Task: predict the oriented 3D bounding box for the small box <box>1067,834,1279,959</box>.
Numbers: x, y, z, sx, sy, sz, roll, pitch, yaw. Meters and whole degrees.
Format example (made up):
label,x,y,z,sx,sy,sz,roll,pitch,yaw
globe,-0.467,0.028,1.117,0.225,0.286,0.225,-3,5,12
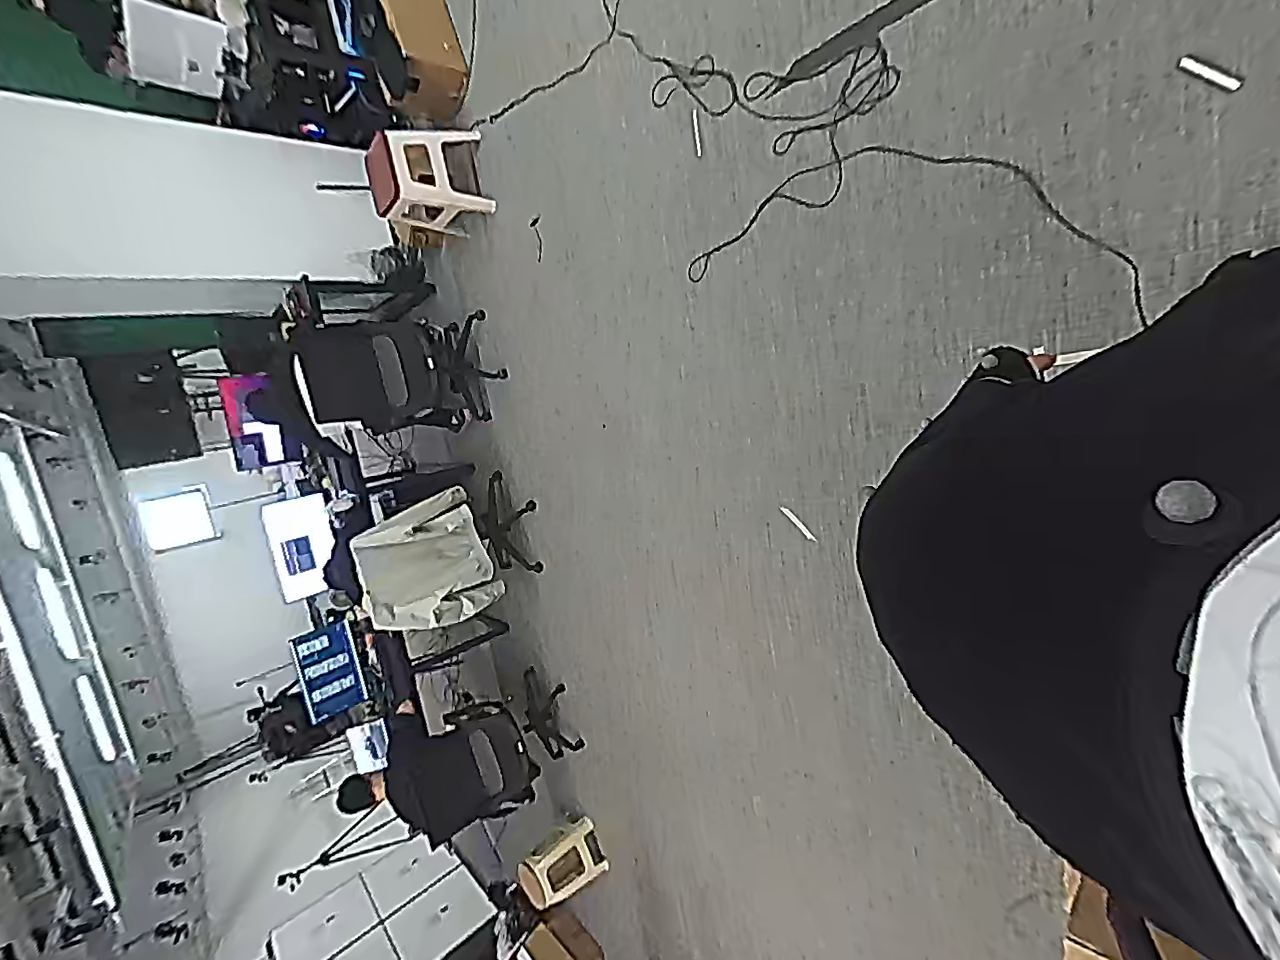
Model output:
label,x,y,z,sx,sy,sz,roll,pitch,yaw
small box,0.563,0.524,0.563,0.168,0.176,0.179,1,102,48
